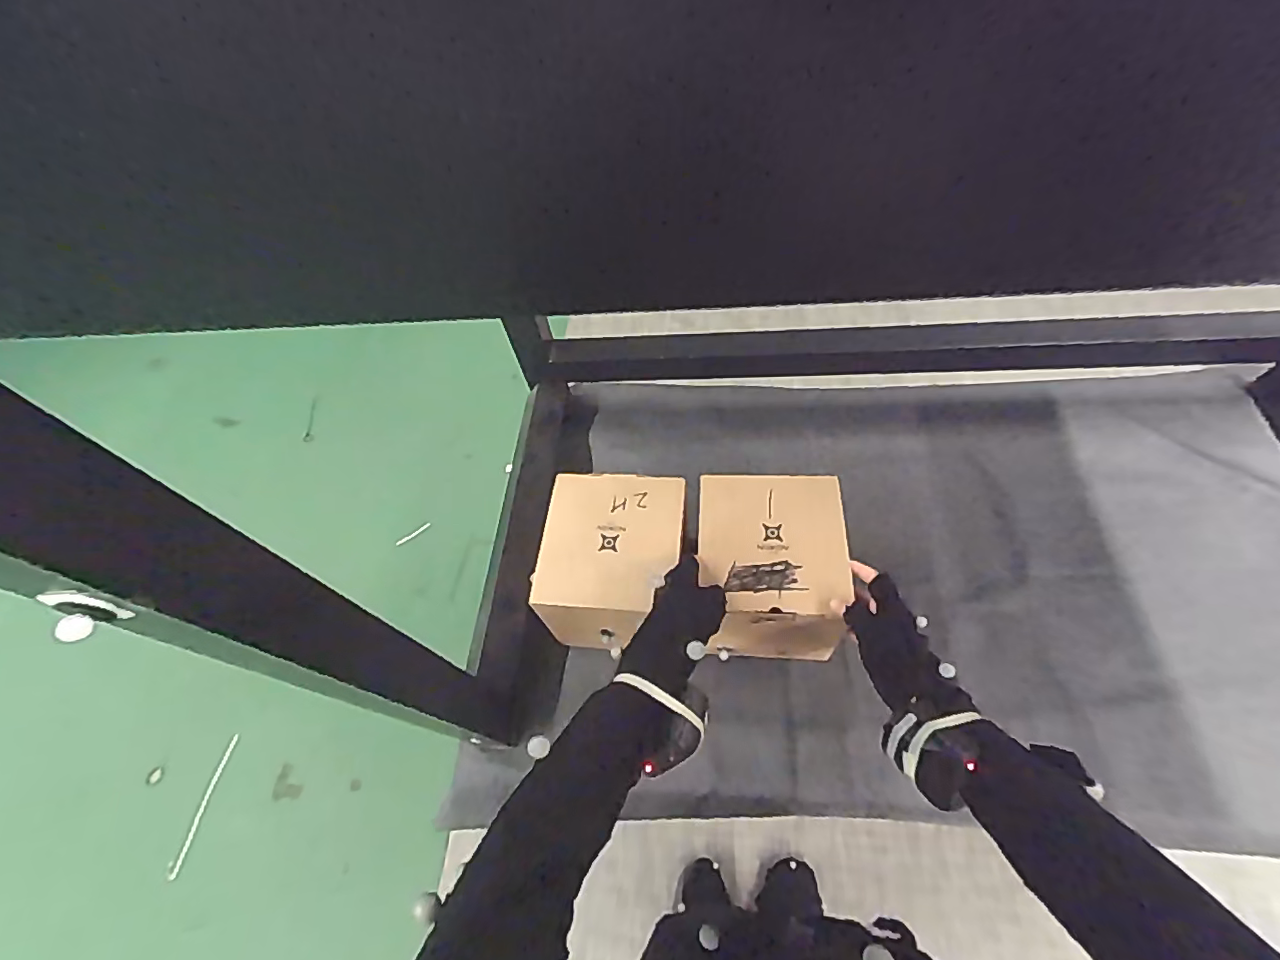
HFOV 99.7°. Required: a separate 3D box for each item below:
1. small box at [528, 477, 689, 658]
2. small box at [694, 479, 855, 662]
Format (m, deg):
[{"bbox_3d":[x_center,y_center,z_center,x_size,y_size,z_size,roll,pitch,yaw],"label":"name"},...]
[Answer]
[{"bbox_3d":[-0.025,0.116,0.690,0.168,0.176,0.179,3,57,8],"label":"small box"},{"bbox_3d":[0.155,0.115,0.667,0.168,0.176,0.179,1,56,8],"label":"small box"}]
